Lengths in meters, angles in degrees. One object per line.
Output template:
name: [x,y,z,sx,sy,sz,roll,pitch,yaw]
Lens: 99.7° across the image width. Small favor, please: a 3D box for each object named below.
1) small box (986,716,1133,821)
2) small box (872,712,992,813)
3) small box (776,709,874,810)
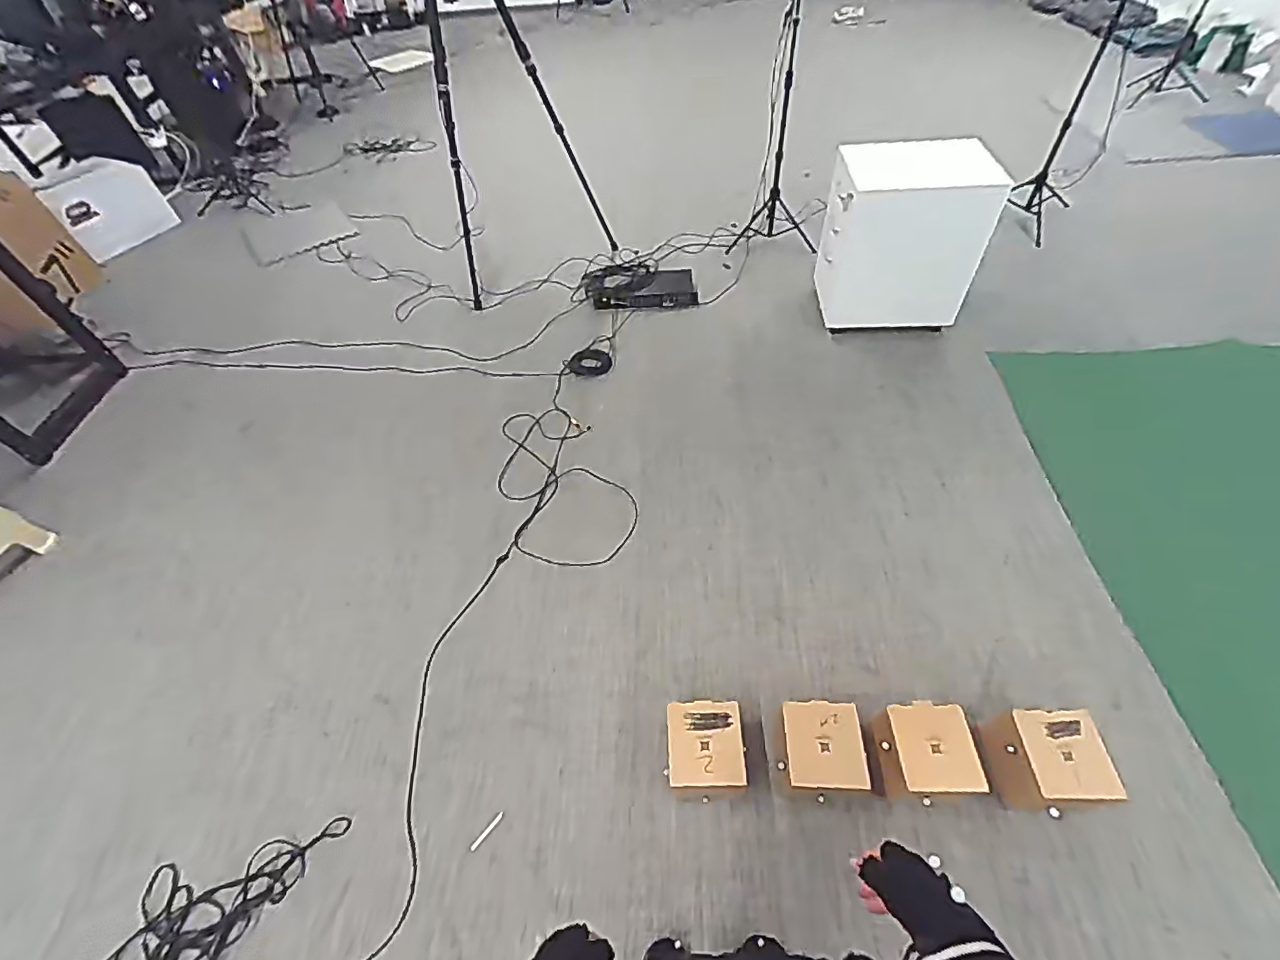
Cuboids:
small box: [0.905,0.637,1.192,0.168,0.176,0.179,-1,51,4]
small box: [0.643,0.637,1.214,0.168,0.176,0.179,-2,50,3]
small box: [0.410,0.639,1.229,0.168,0.176,0.179,0,50,4]
